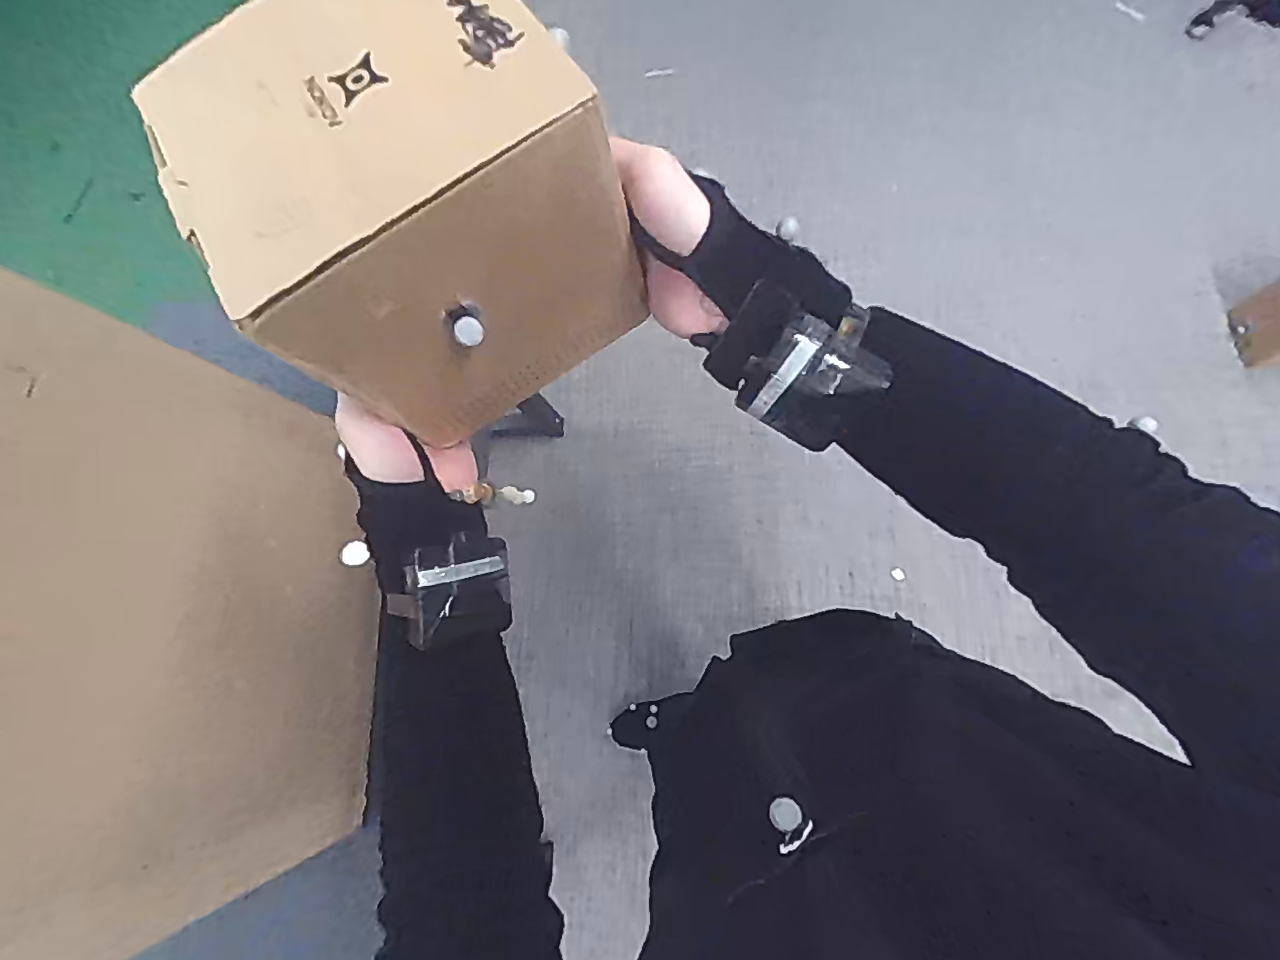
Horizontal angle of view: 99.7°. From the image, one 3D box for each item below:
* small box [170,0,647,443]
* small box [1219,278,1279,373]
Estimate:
[{"bbox_3d":[-0.115,-0.148,0.329,0.179,0.176,0.168,-33,73,0],"label":"small box"},{"bbox_3d":[1.548,-0.367,1.268,0.179,0.176,0.168,-6,73,11],"label":"small box"}]
